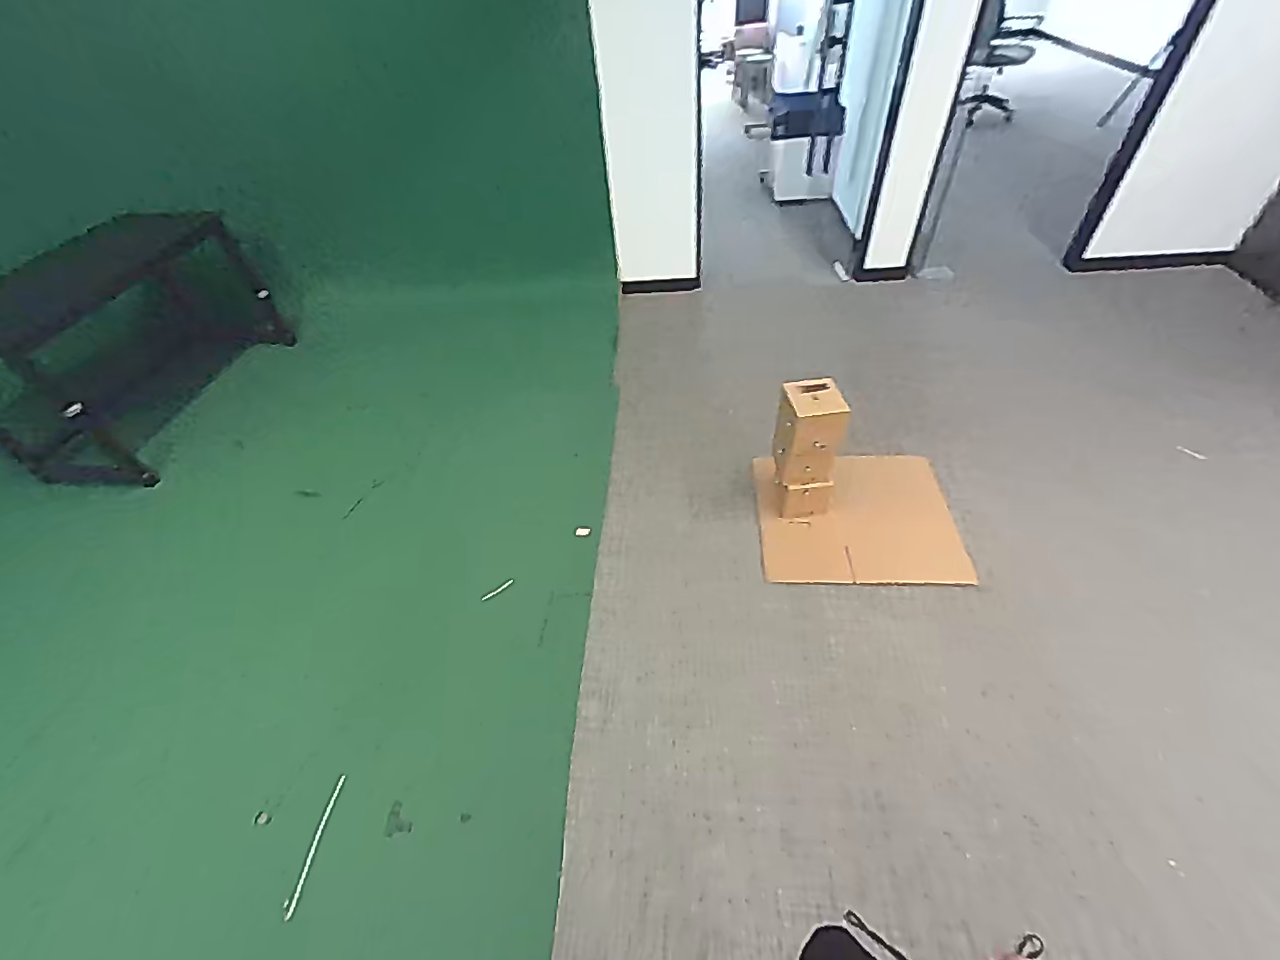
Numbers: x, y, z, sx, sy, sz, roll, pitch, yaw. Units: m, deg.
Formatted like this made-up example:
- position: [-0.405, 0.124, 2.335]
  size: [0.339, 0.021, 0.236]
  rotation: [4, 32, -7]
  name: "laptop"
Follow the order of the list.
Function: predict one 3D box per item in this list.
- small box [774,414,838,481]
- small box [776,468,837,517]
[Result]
- position: [0.579, -0.110, 1.904]
  size: [0.168, 0.176, 0.179]
  rotation: [-5, 46, 0]
  name: "small box"
- position: [0.610, 0.014, 2.011]
  size: [0.168, 0.176, 0.179]
  rotation: [-6, 46, 0]
  name: "small box"
